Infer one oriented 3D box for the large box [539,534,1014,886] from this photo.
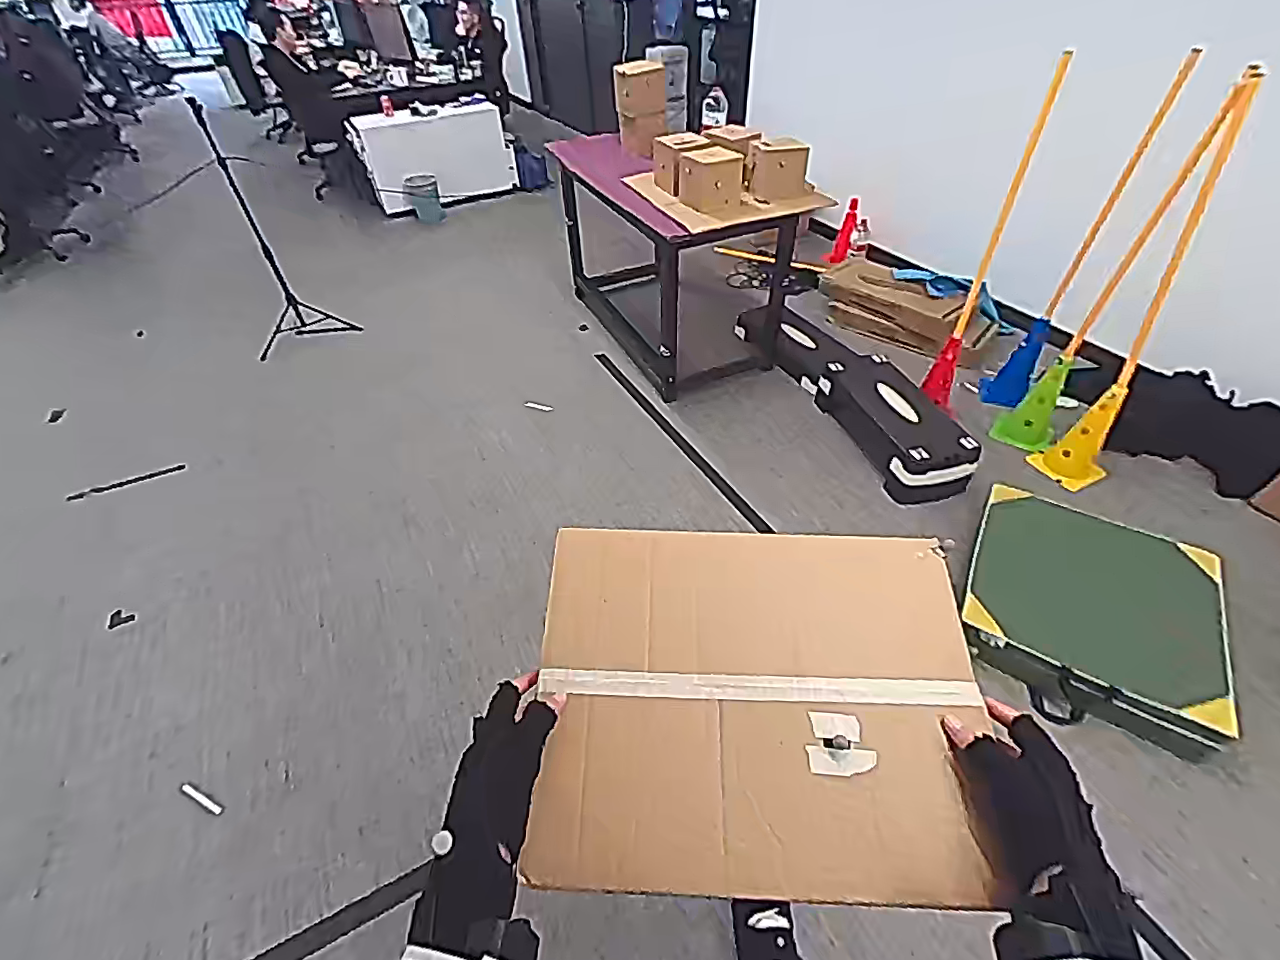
[{"bbox_3d":[0.115,0.272,0.649,0.408,0.320,0.320,2,61,2],"label":"large box"}]
